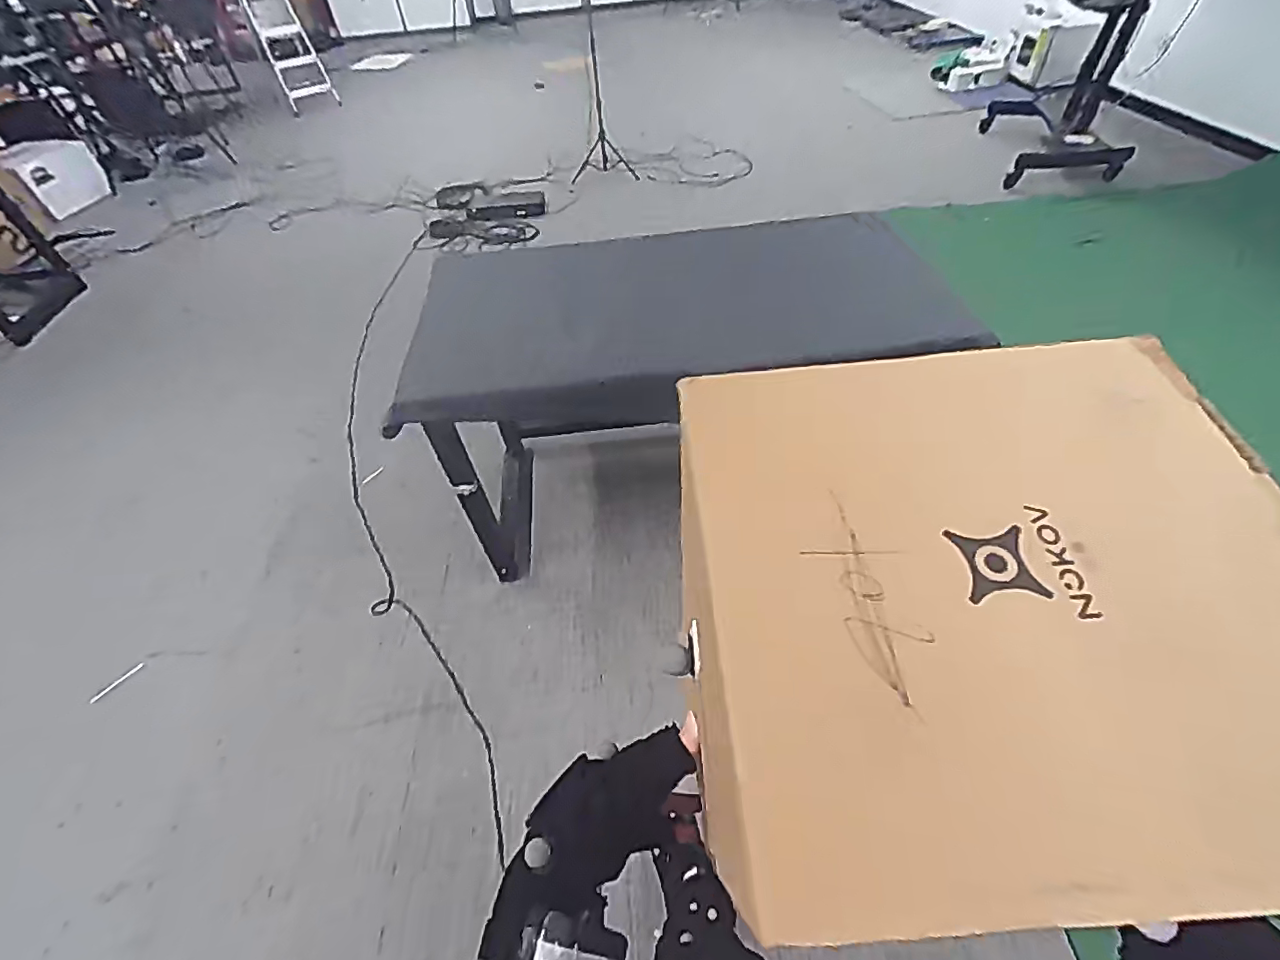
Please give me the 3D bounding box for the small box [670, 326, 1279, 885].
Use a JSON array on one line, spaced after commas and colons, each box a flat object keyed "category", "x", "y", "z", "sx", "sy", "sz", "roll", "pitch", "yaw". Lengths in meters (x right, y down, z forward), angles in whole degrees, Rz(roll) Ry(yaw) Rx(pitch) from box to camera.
[{"category": "small box", "x": 0.108, "y": 0.061, "z": 0.235, "sx": 0.179, "sy": 0.176, "sz": 0.168, "roll": -6, "pitch": 58, "yaw": 2}]
